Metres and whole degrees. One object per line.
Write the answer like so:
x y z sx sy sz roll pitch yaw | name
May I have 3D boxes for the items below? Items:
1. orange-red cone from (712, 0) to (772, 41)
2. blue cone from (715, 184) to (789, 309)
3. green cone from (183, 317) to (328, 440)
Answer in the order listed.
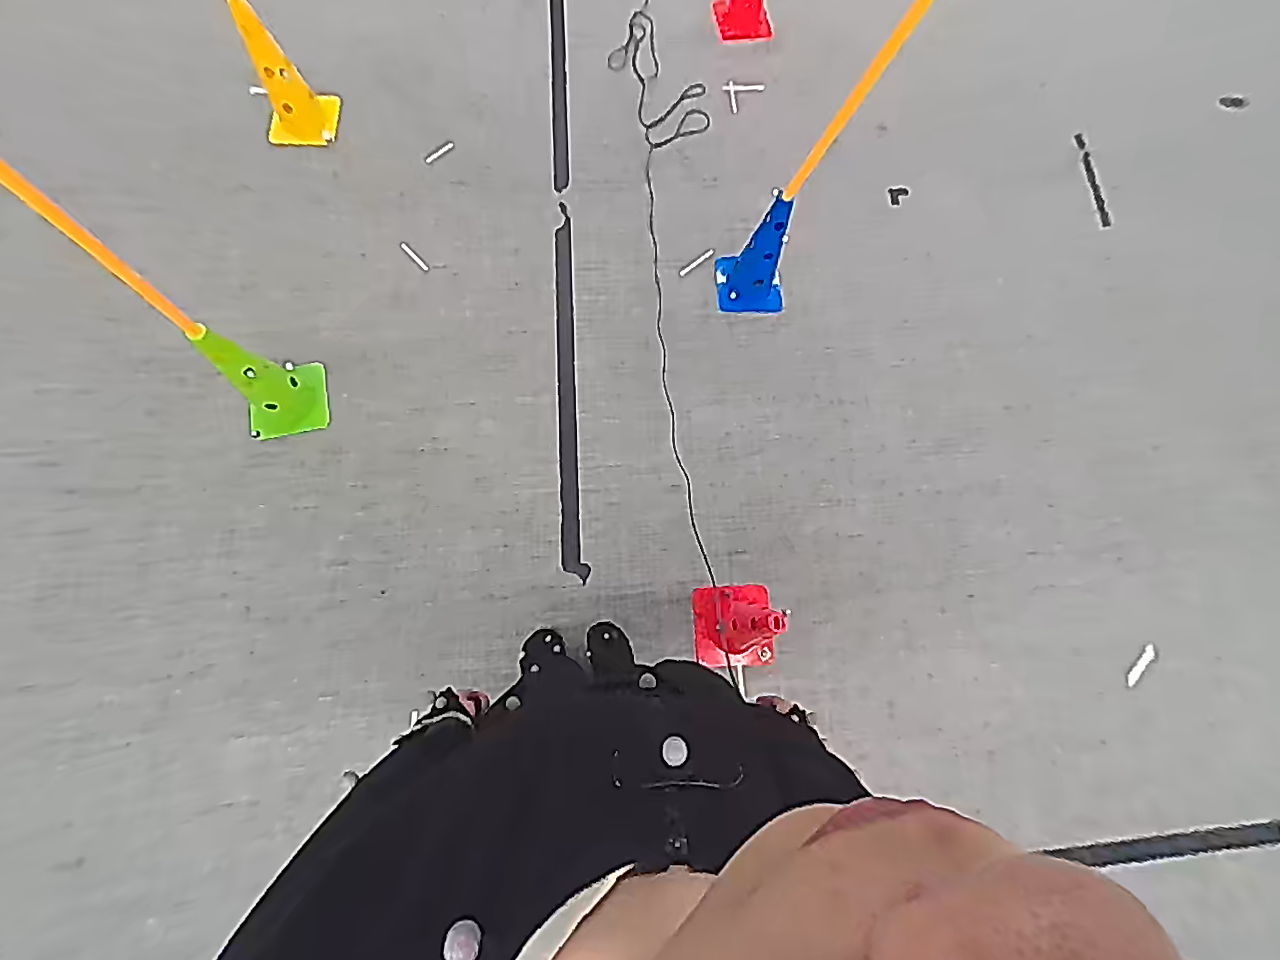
0.383 -1.730 1.815 0.199 0.360 0.198 -8 74 -5 | orange-red cone
0.343 -0.660 1.520 0.193 0.380 0.192 0 73 -4 | blue cone
-0.946 -0.268 1.304 0.200 0.368 0.202 -13 73 -8 | green cone
